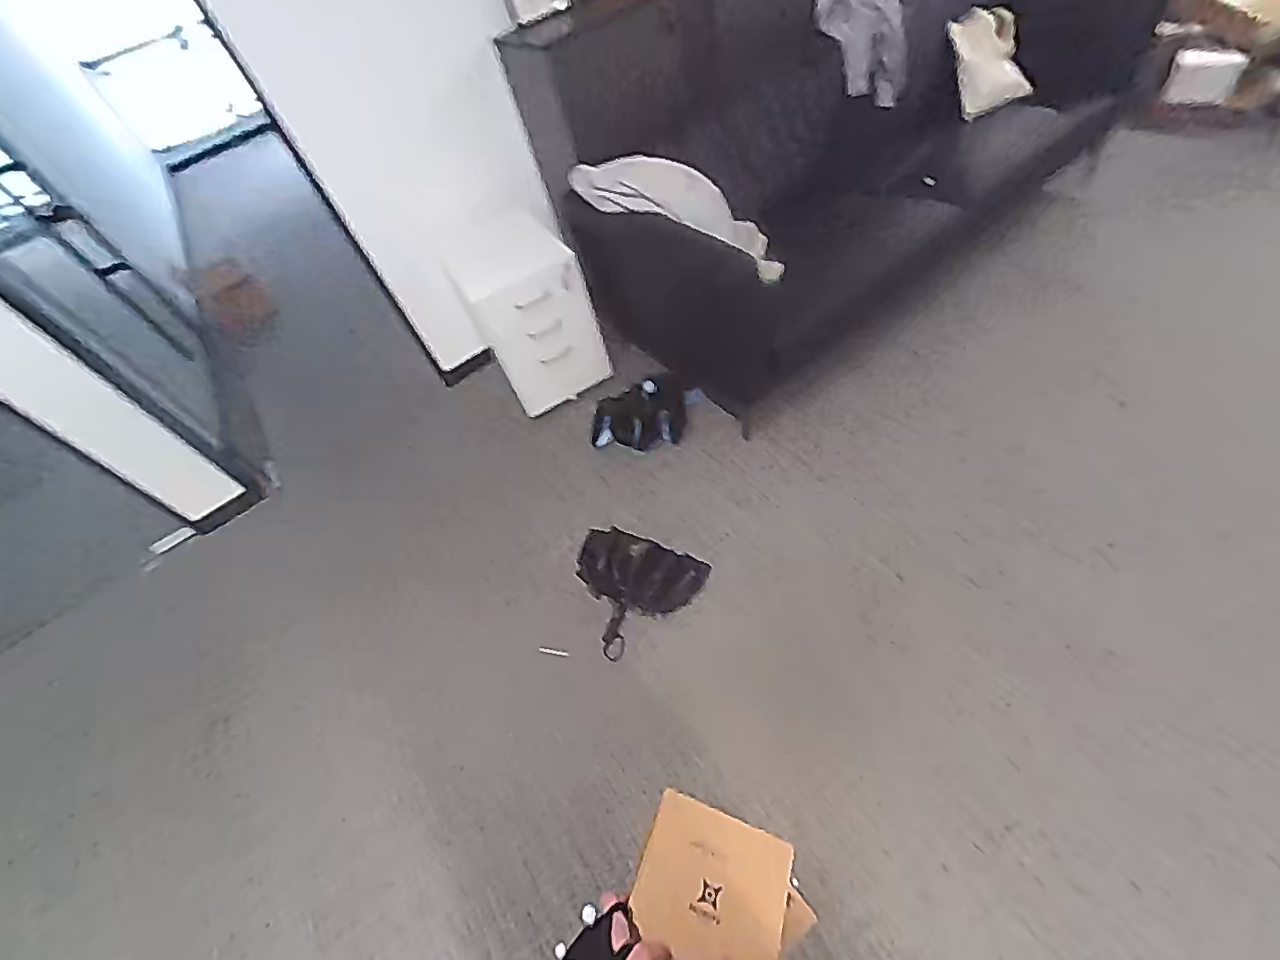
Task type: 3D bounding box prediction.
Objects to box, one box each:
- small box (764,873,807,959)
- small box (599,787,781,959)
[{"bbox_3d":[0.227,0.884,1.118,0.179,0.176,0.168,-38,52,-14],"label":"small box"},{"bbox_3d":[0.056,0.521,0.660,0.168,0.176,0.179,19,45,9],"label":"small box"}]
